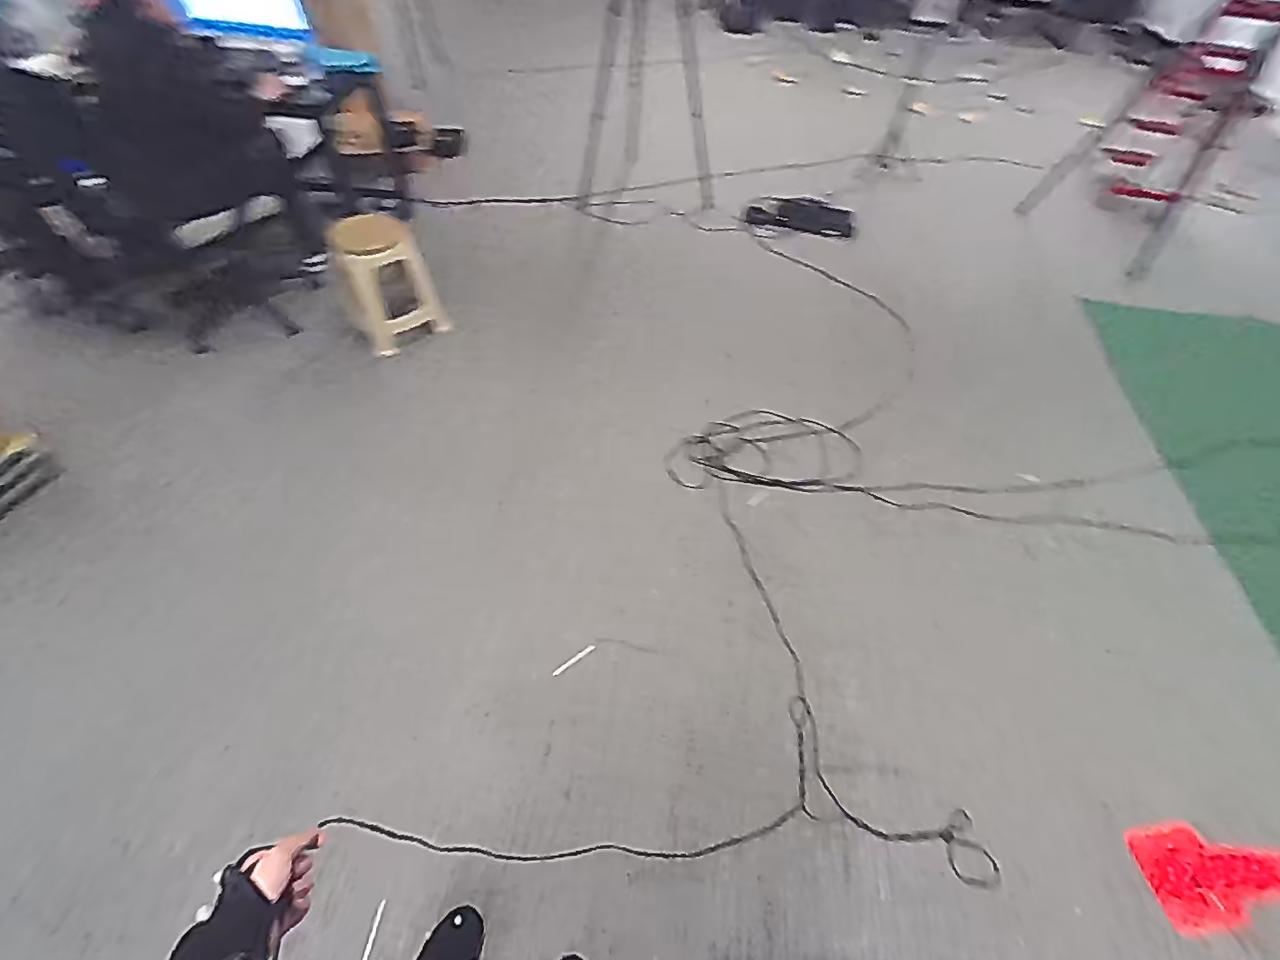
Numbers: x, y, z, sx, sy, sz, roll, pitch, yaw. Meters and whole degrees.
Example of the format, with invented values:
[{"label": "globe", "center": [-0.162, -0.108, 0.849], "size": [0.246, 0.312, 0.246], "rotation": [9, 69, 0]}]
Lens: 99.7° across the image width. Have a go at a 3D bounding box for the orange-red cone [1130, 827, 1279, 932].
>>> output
[{"label": "orange-red cone", "center": [1.352, 0.870, 1.199], "size": [0.198, 0.360, 0.199], "rotation": [-3, 51, -7]}]
